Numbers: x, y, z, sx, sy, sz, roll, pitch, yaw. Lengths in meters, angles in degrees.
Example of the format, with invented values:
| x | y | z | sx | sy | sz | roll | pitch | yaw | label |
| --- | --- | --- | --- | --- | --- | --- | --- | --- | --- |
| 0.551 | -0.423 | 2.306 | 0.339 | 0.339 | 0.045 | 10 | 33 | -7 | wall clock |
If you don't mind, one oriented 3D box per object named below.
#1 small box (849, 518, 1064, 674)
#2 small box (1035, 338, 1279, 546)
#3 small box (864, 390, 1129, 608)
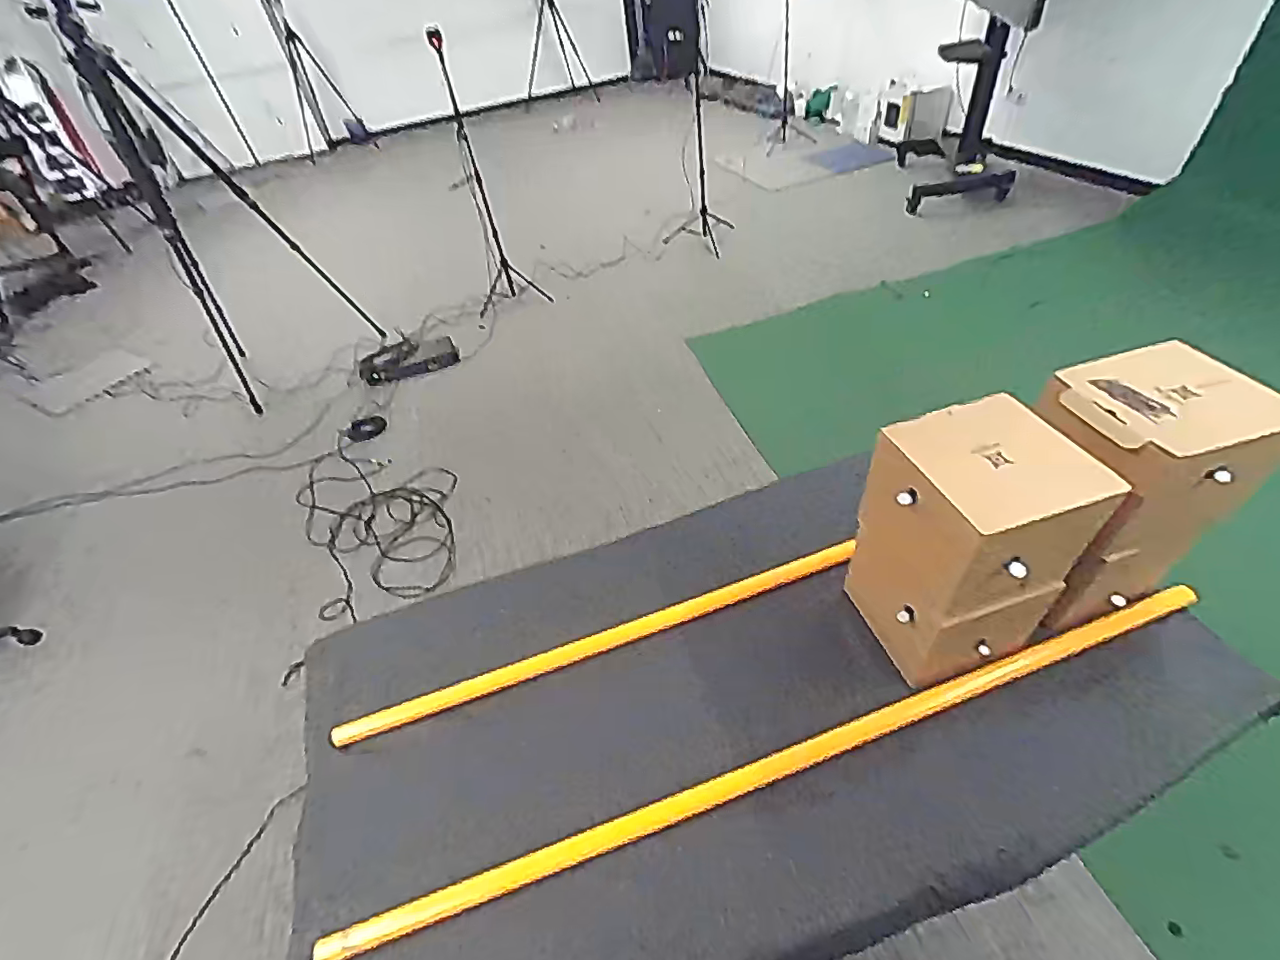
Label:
| x | y | z | sx | sy | sz | roll | pitch | yaw | label |
| --- | --- | --- | --- | --- | --- | --- | --- | --- | --- |
| 0.412 | 0.144 | 0.743 | 0.168 | 0.176 | 0.179 | -16 | 45 | -6 | small box |
| 0.606 | -0.043 | 0.658 | 0.179 | 0.176 | 0.168 | -15 | 46 | -5 | small box |
| 0.389 | 0.028 | 0.631 | 0.168 | 0.176 | 0.179 | -17 | 45 | -5 | small box |
